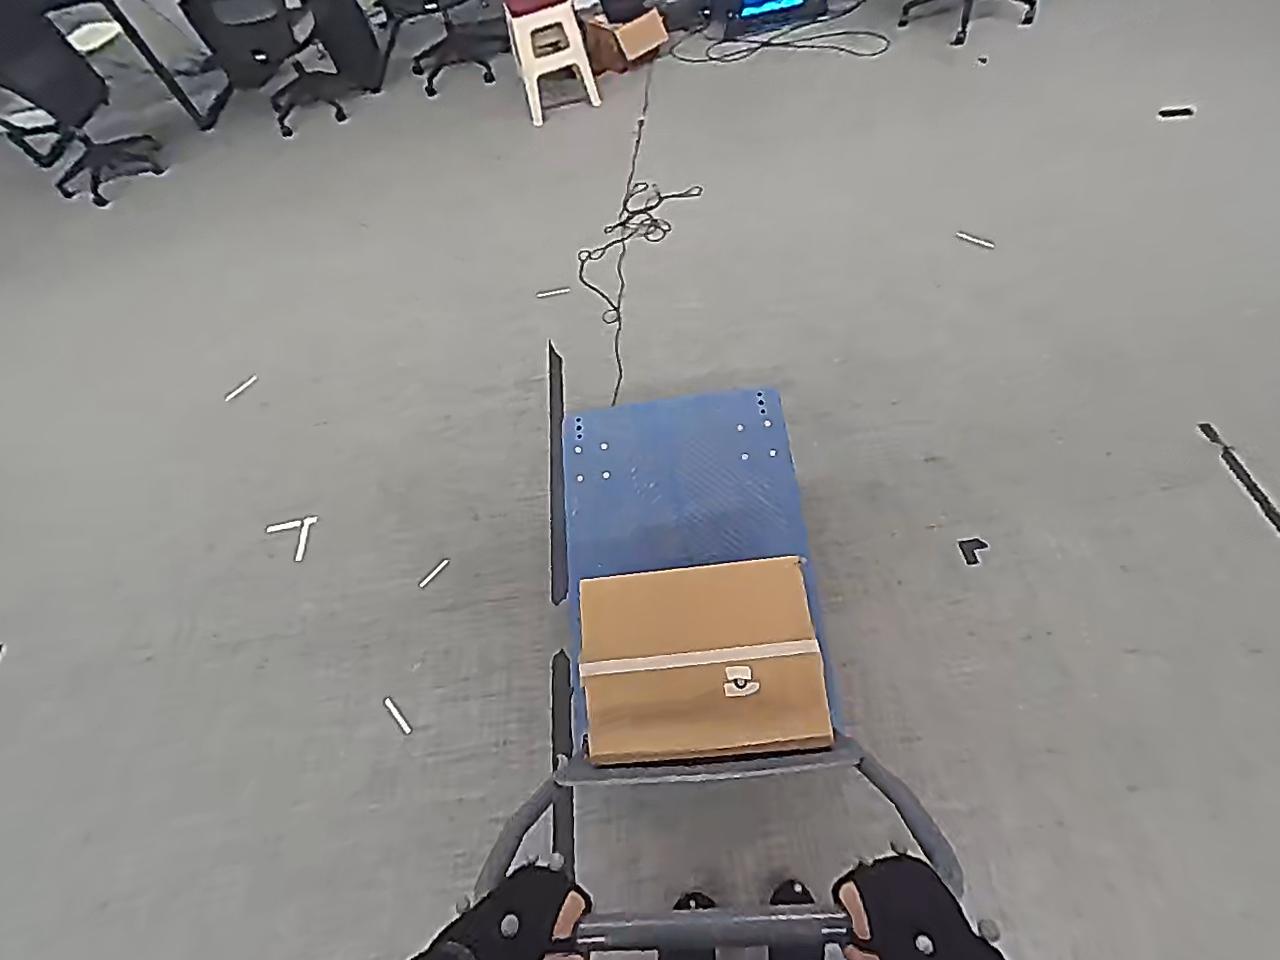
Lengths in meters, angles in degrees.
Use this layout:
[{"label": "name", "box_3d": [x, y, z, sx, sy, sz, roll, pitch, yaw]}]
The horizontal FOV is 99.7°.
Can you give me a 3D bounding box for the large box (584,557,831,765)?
[{"label": "large box", "box_3d": [0.121, 0.360, 1.090, 0.408, 0.320, 0.320, -8, 71, 5]}]
